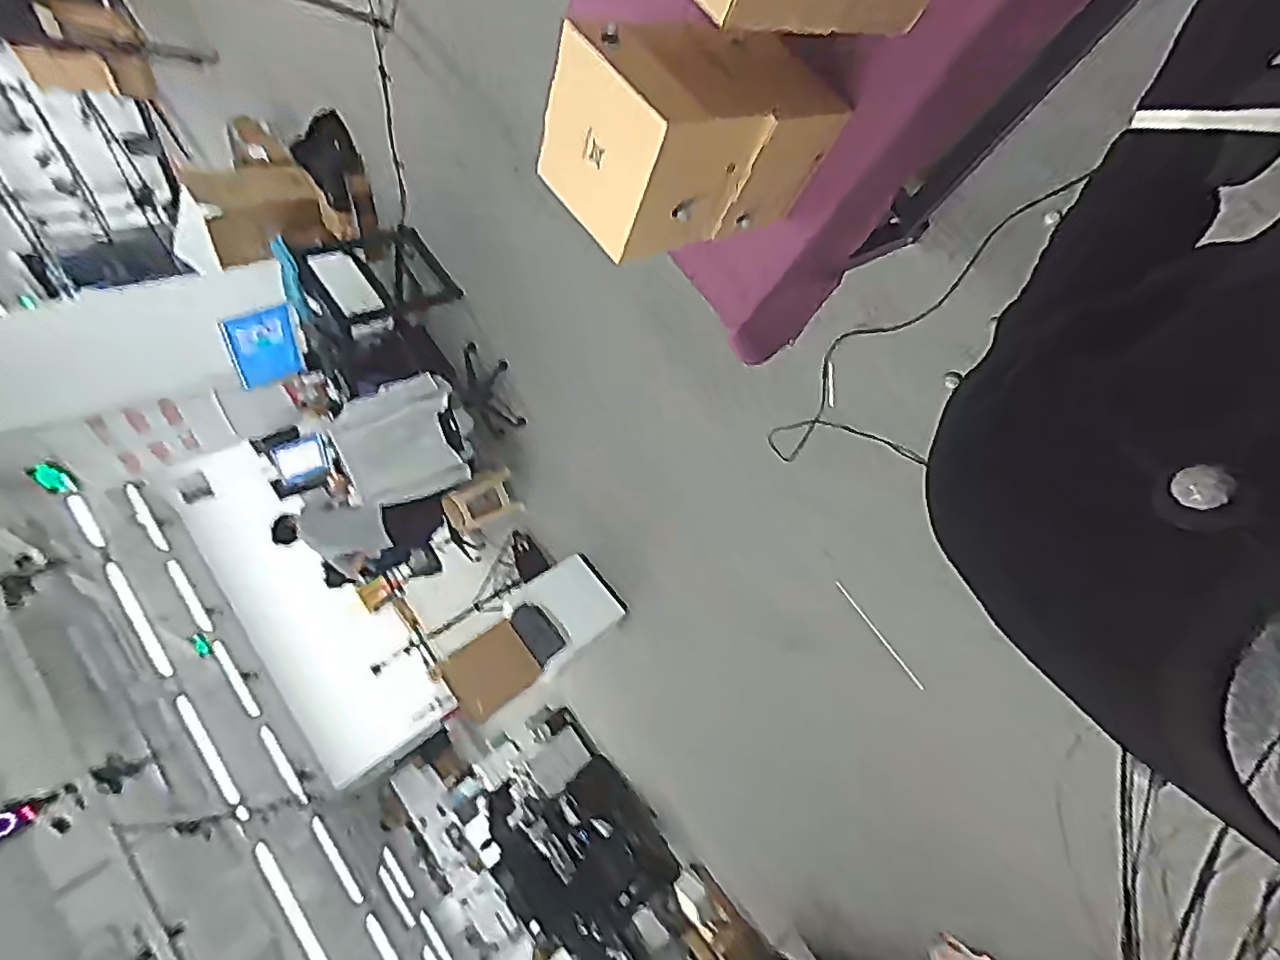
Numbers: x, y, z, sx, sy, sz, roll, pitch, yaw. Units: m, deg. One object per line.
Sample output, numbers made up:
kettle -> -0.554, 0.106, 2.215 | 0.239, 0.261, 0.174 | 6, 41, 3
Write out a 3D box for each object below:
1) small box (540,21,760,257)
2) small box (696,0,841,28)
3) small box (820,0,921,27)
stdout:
small box -> 0.009, -0.404, 0.645 | 0.179, 0.176, 0.168 | 53, 146, 13
small box -> 0.109, -0.507, 0.428 | 0.168, 0.176, 0.179 | 55, 147, 9
small box -> 0.225, -0.579, 0.518 | 0.168, 0.176, 0.179 | 54, 147, 10
